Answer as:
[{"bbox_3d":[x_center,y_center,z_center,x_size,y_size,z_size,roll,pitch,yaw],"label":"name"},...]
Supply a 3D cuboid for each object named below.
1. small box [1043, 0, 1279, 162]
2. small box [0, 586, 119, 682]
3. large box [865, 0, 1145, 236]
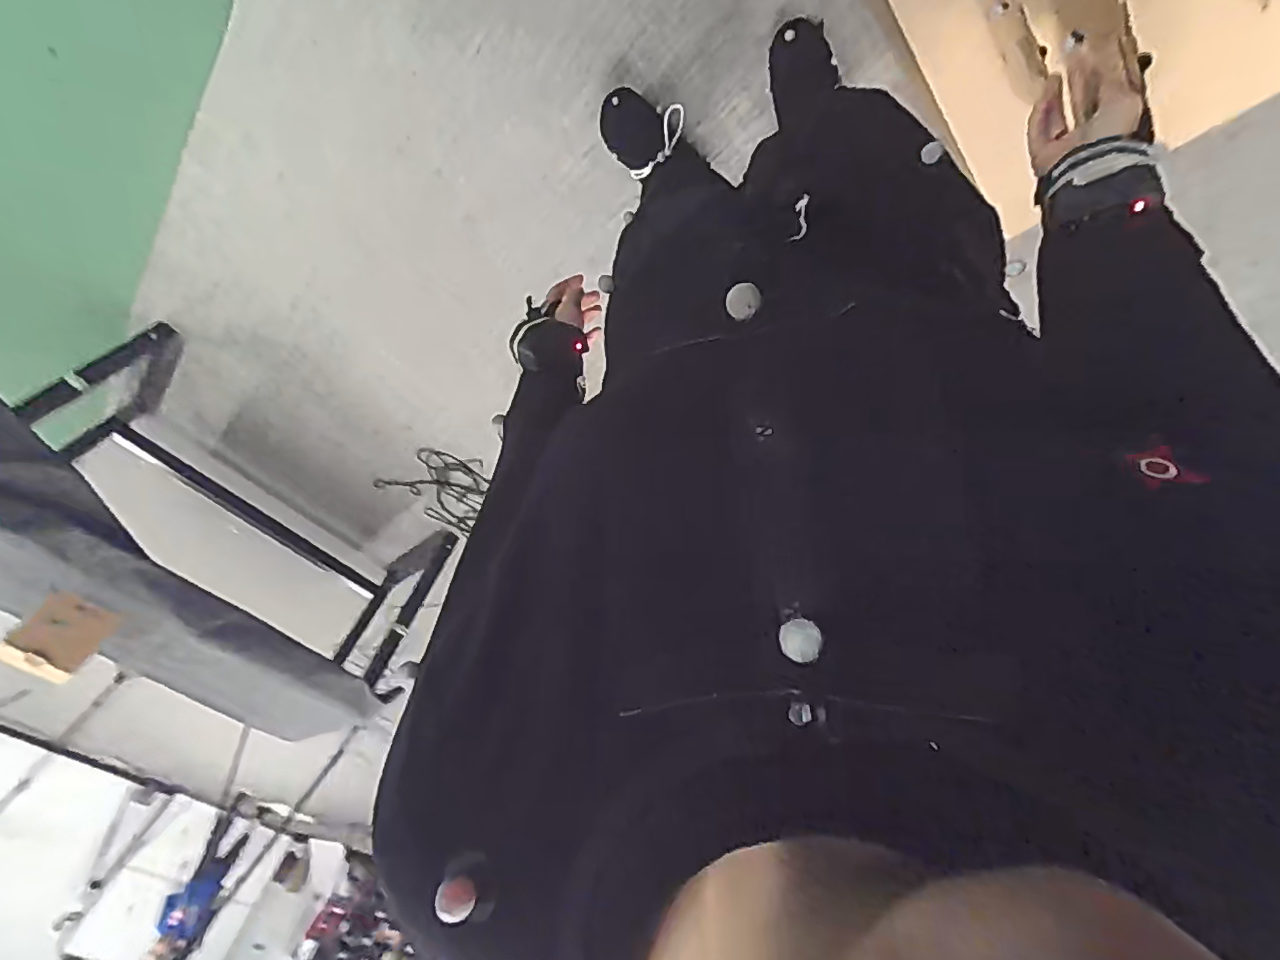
[{"bbox_3d":[0.473,-0.412,0.443,0.179,0.176,0.168,-26,122,34],"label":"small box"},{"bbox_3d":[-1.521,0.398,1.406,0.179,0.176,0.168,-24,121,34],"label":"small box"},{"bbox_3d":[0.565,-0.651,0.763,0.320,0.320,0.408,-28,121,36],"label":"large box"}]
